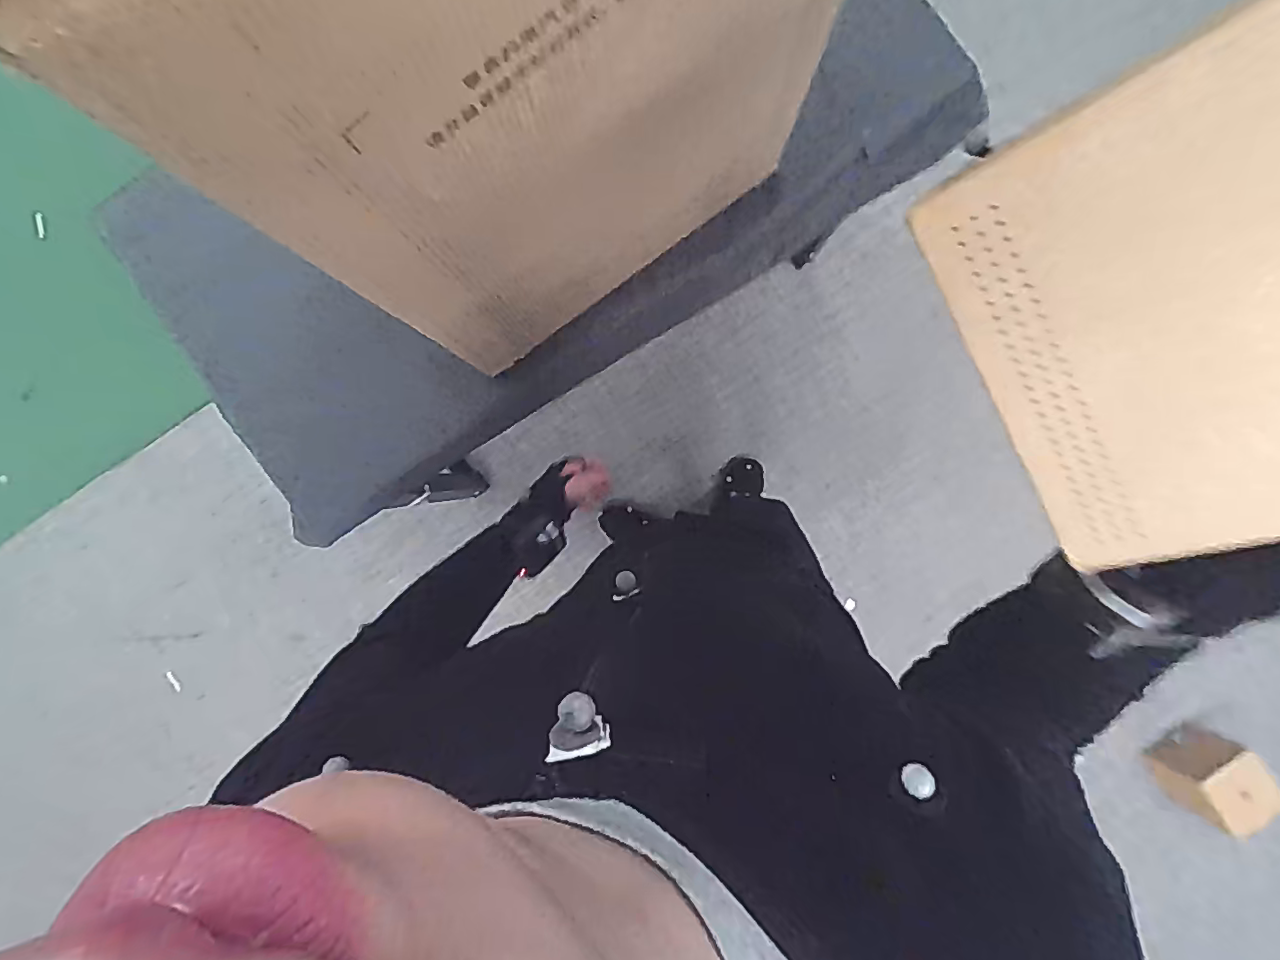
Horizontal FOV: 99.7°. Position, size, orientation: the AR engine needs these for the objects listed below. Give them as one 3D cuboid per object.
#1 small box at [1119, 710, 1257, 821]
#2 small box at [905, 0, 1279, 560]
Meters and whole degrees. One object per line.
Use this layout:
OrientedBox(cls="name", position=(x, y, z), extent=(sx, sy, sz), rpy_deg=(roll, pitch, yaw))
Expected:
OrientedBox(cls="small box", position=(1.502, 0.779, 1.494), extent=(0.168, 0.176, 0.179), rpy_deg=(-35, 90, -1))
OrientedBox(cls="small box", position=(0.243, -0.087, 0.253), extent=(0.176, 0.168, 0.179), rpy_deg=(-21, 106, 38))
